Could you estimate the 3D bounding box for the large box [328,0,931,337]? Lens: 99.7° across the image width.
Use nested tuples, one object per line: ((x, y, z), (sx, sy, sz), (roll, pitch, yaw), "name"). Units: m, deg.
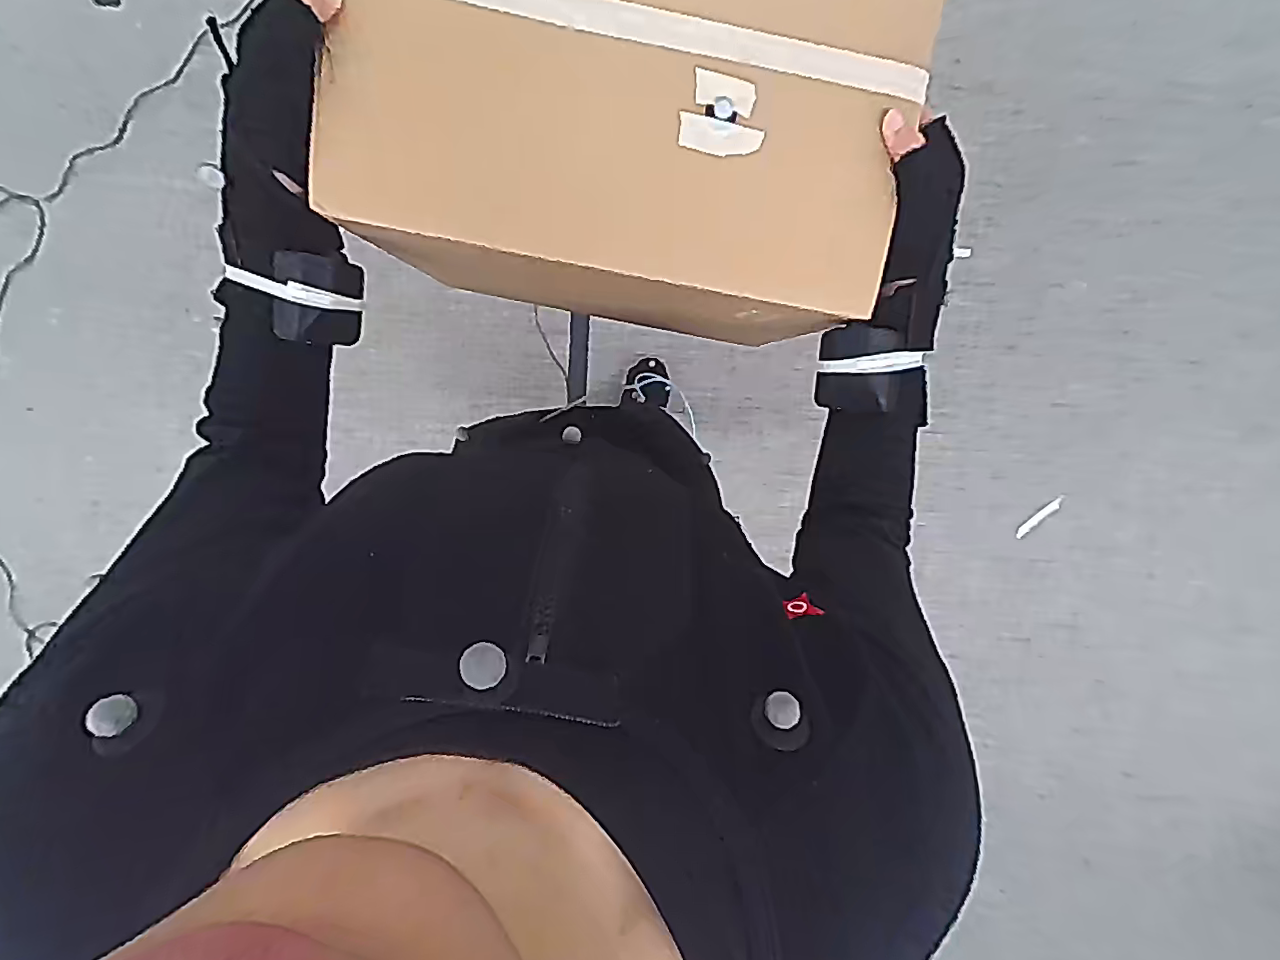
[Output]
((-0.013, -0.333, 0.517), (0.408, 0.320, 0.320), (9, 101, -5), "large box")
